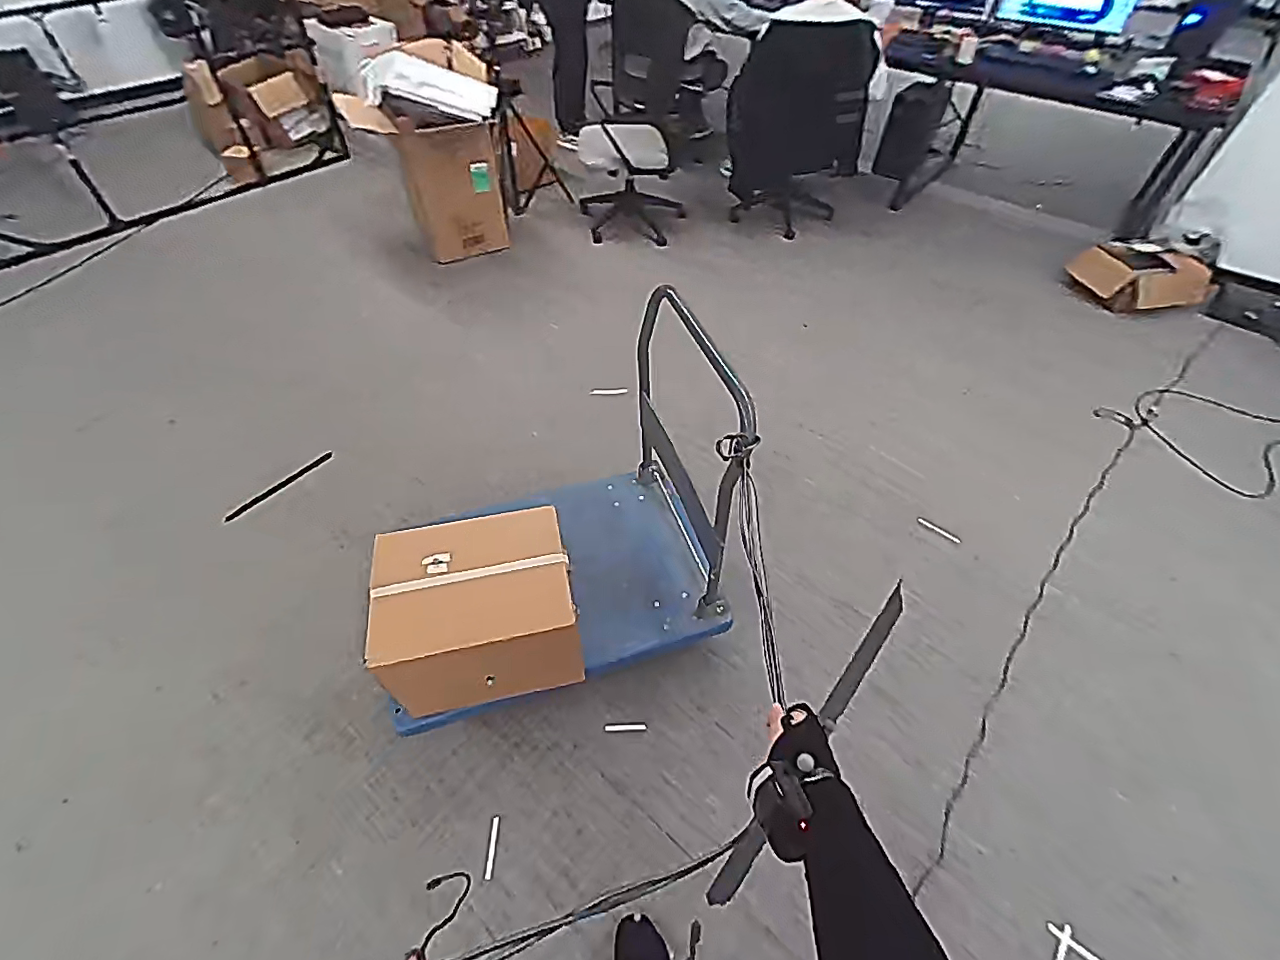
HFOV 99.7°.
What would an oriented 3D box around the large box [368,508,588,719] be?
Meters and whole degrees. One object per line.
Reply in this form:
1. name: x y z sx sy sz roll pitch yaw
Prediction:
1. large box: -0.352 0.309 1.247 0.408 0.320 0.320 -10 50 -9
